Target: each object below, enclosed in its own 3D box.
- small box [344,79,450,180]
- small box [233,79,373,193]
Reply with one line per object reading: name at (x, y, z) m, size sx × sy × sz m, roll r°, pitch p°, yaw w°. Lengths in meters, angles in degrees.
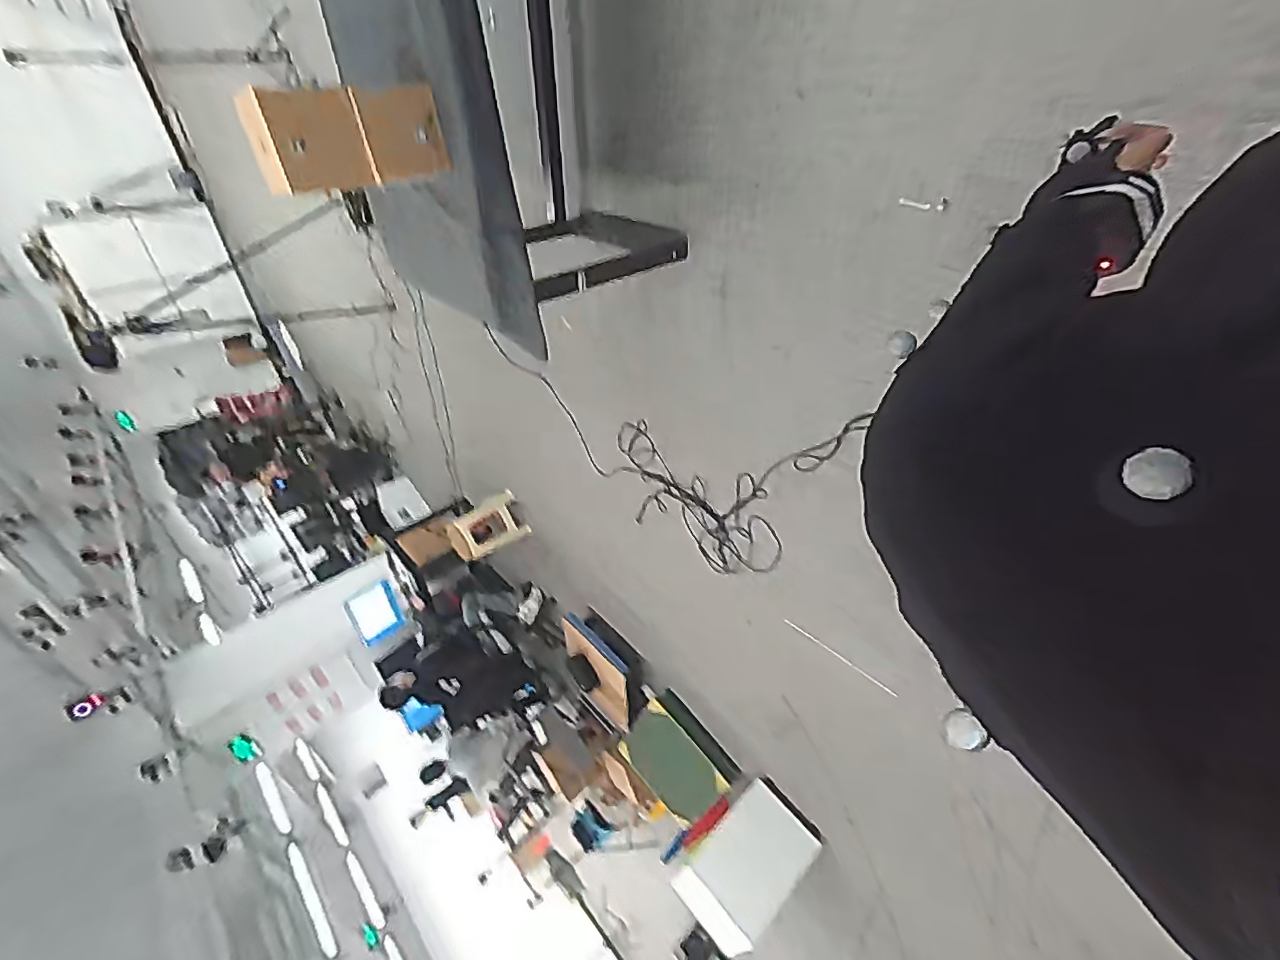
small box at (-0.538, -0.749, 1.166) m, size 0.179 × 0.176 × 0.168 m, roll 23°, pitch 133°, yaw 42°
small box at (-0.667, -0.689, 1.086) m, size 0.168 × 0.176 × 0.179 m, roll 26°, pitch 134°, yaw 39°
